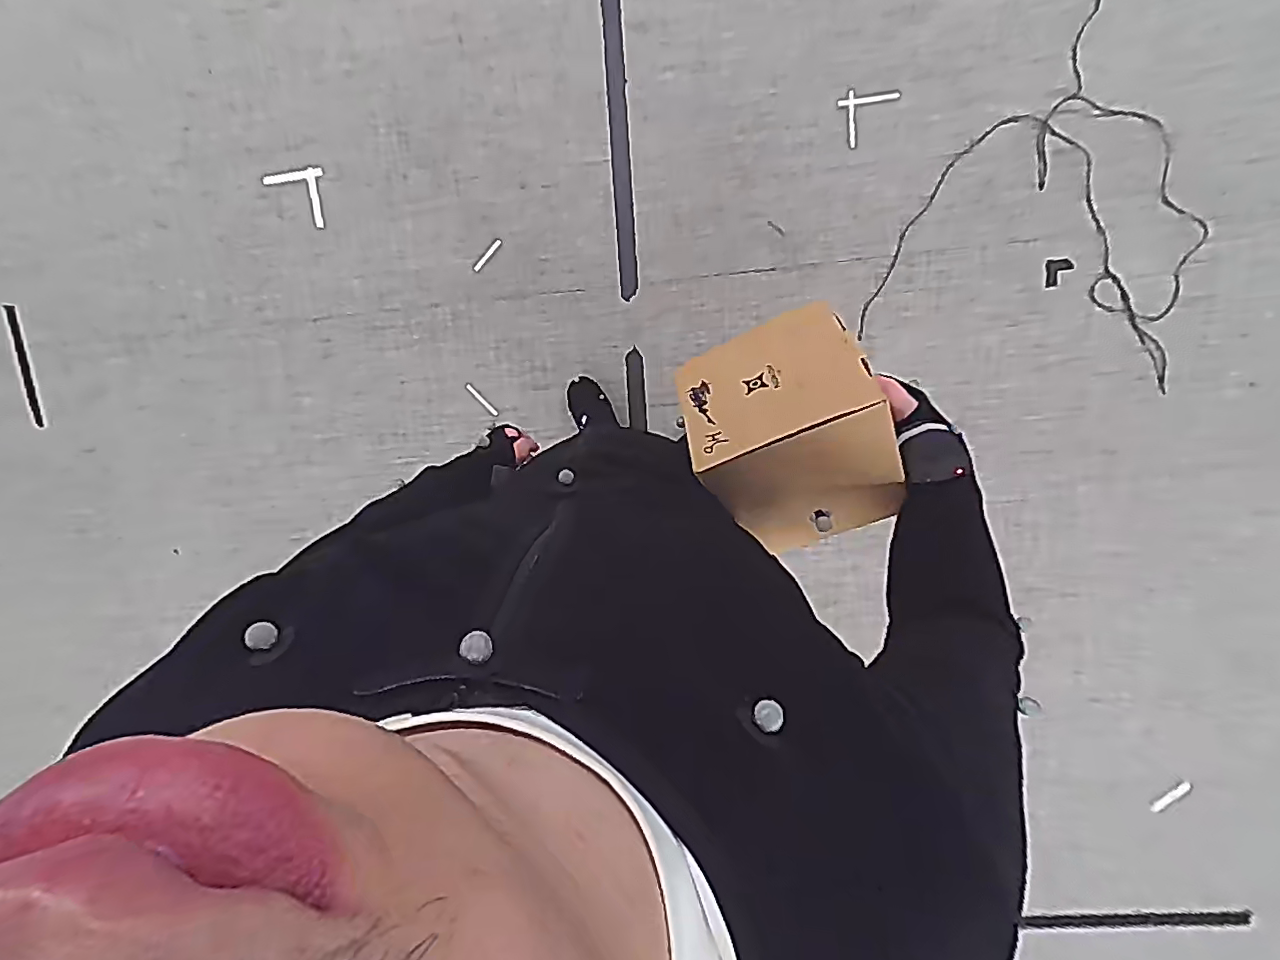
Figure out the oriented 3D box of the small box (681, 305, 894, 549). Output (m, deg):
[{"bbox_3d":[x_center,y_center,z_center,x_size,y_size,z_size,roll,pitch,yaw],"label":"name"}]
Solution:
[{"bbox_3d":[0.164,-0.051,0.597,0.179,0.168,0.176,-22,134,17],"label":"small box"}]
